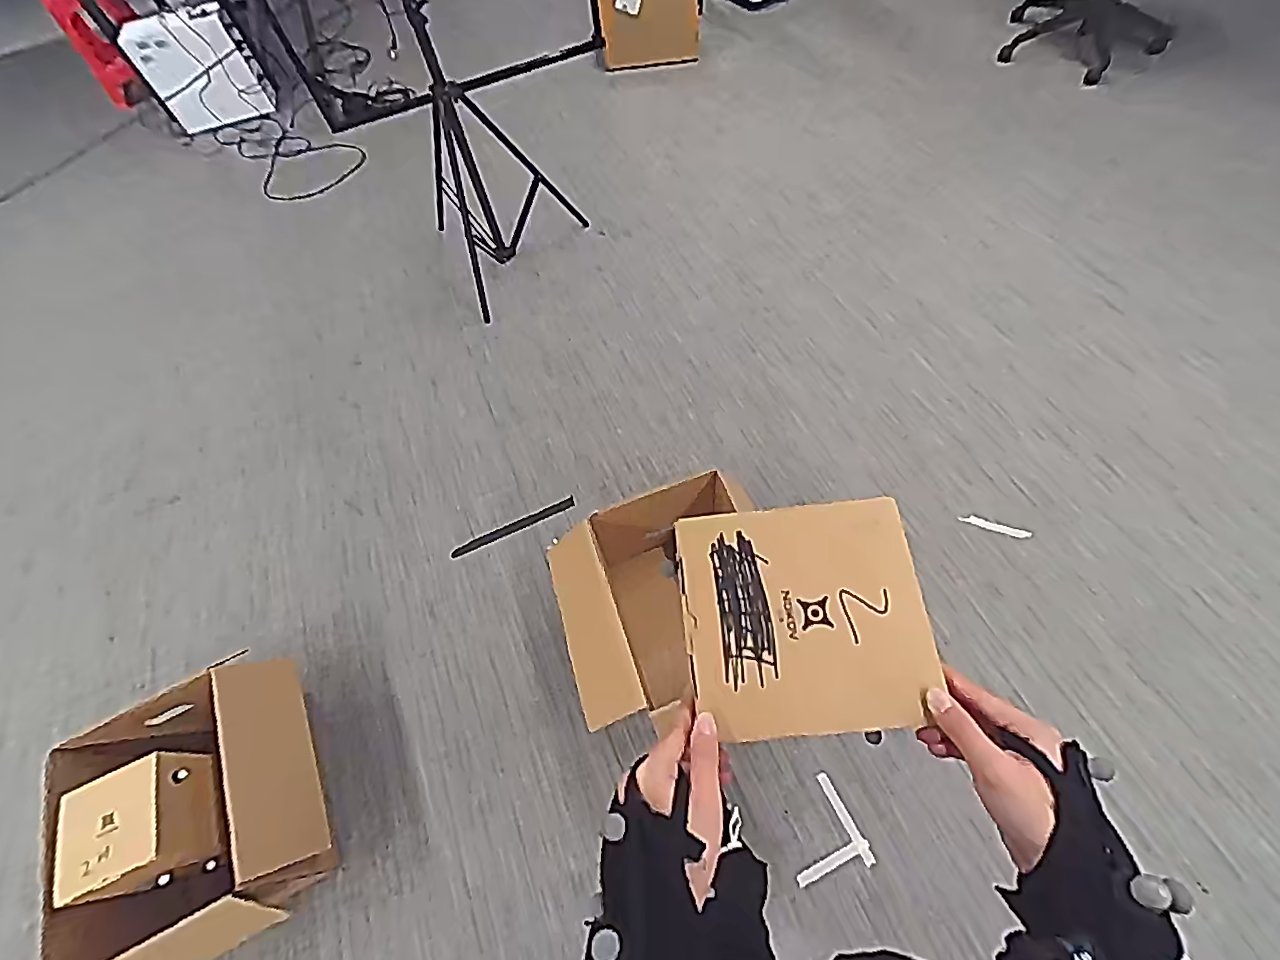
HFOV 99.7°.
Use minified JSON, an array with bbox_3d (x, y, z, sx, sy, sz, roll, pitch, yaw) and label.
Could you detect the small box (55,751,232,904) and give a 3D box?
[{"bbox_3d":[-0.886,0.622,0.984,0.168,0.176,0.179,-25,61,-7],"label":"small box"}]
